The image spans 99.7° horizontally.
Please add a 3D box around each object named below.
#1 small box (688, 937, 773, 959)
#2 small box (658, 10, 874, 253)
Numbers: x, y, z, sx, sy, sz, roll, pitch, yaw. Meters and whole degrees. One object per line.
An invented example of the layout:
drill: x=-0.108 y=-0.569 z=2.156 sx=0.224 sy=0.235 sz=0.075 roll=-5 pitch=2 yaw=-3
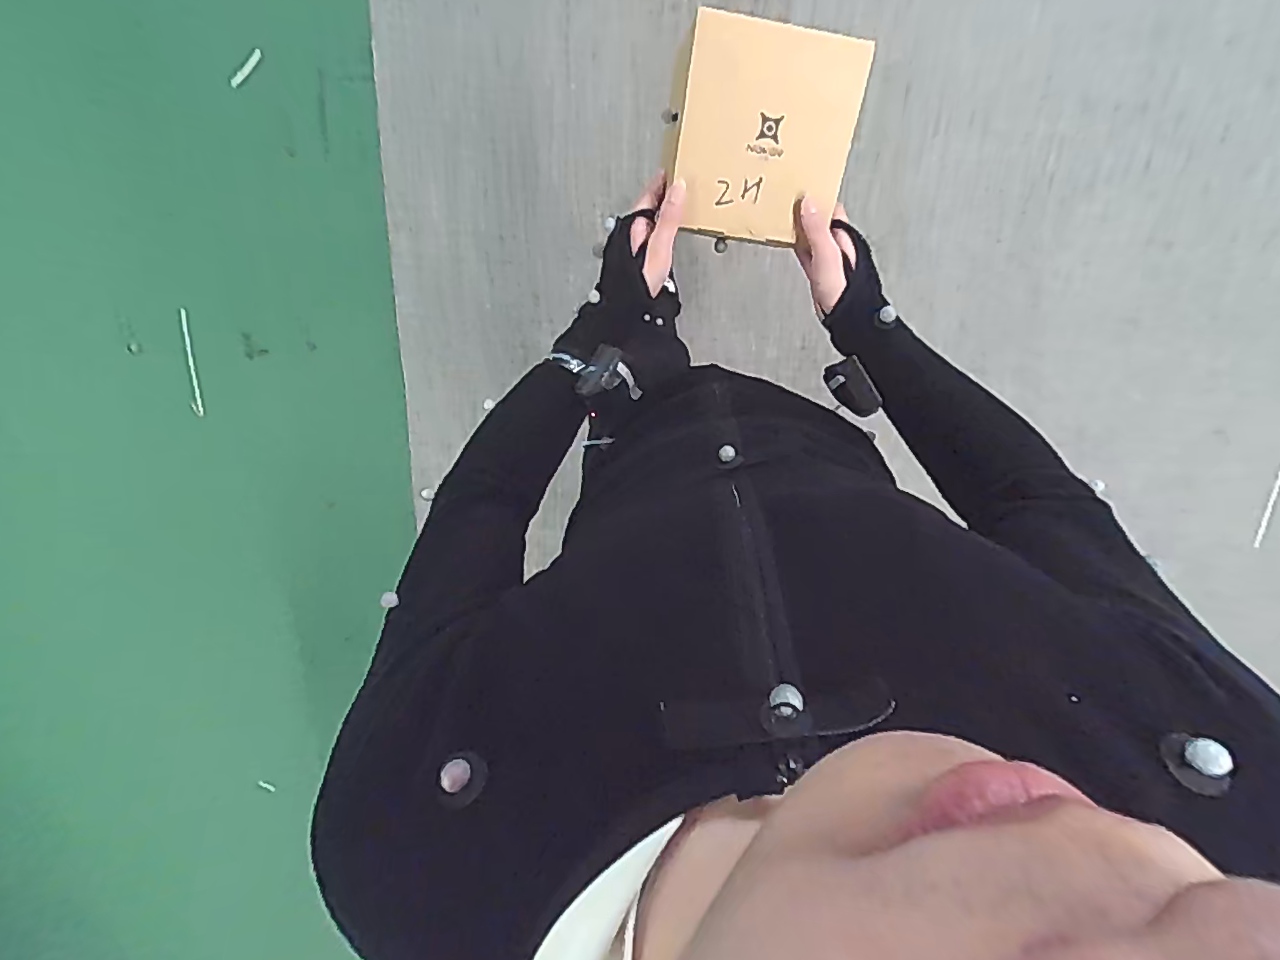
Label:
small box: x=0.173 y=1.057 z=1.069 sx=0.179 sy=0.176 sz=0.168 roll=10 pitch=106 yaw=2
small box: x=0.115 y=-0.350 z=0.582 sx=0.168 sy=0.176 sz=0.179 roll=7 pitch=113 yaw=-6
